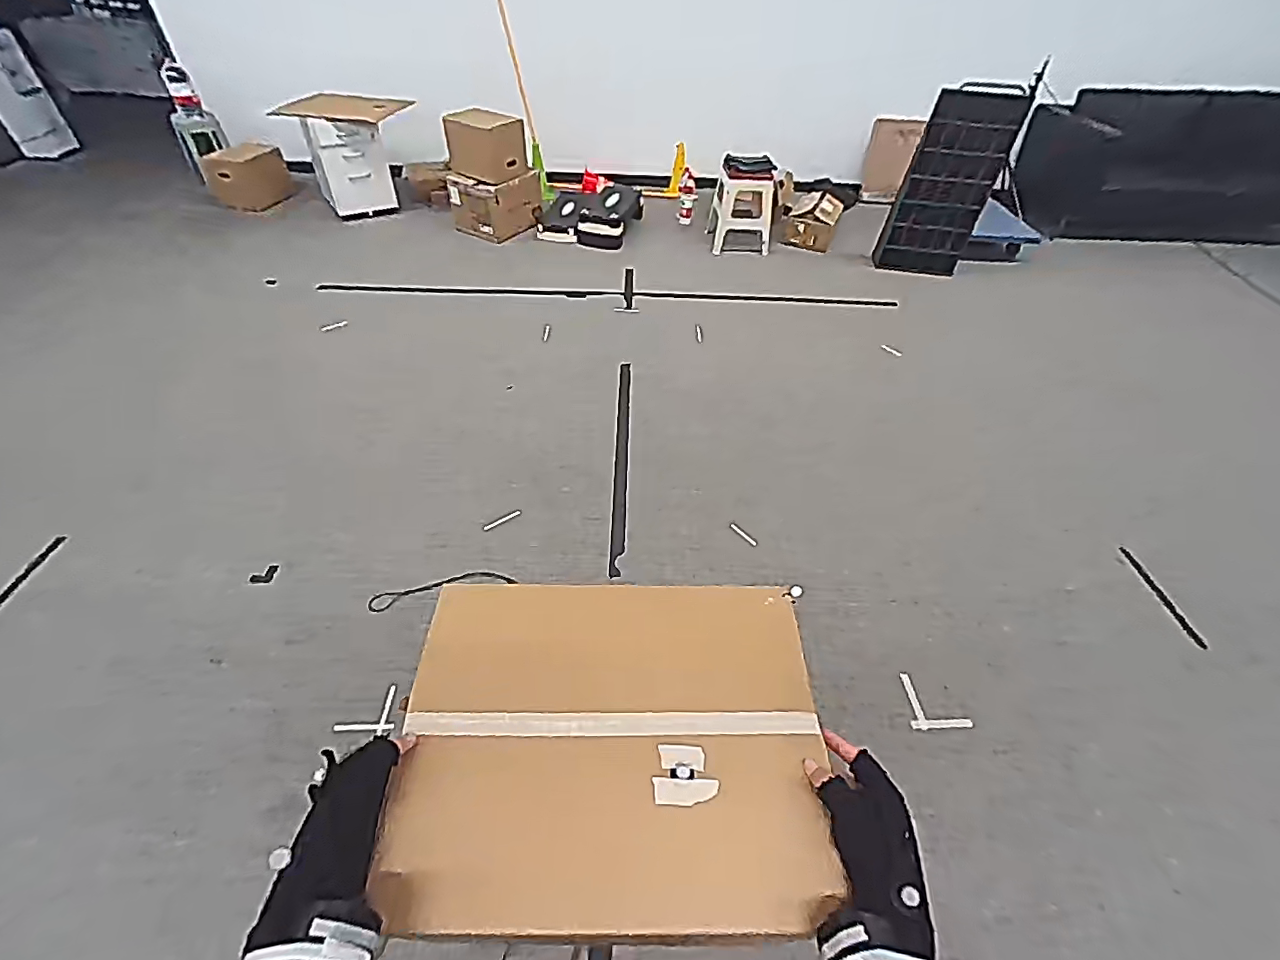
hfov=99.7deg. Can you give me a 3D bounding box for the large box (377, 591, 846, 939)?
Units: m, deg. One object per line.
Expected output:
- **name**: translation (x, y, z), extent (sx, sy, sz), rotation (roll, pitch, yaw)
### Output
- **large box**: translation (-0.029, 0.347, 0.660), extent (0.408, 0.320, 0.320), rotation (1, 49, -1)
